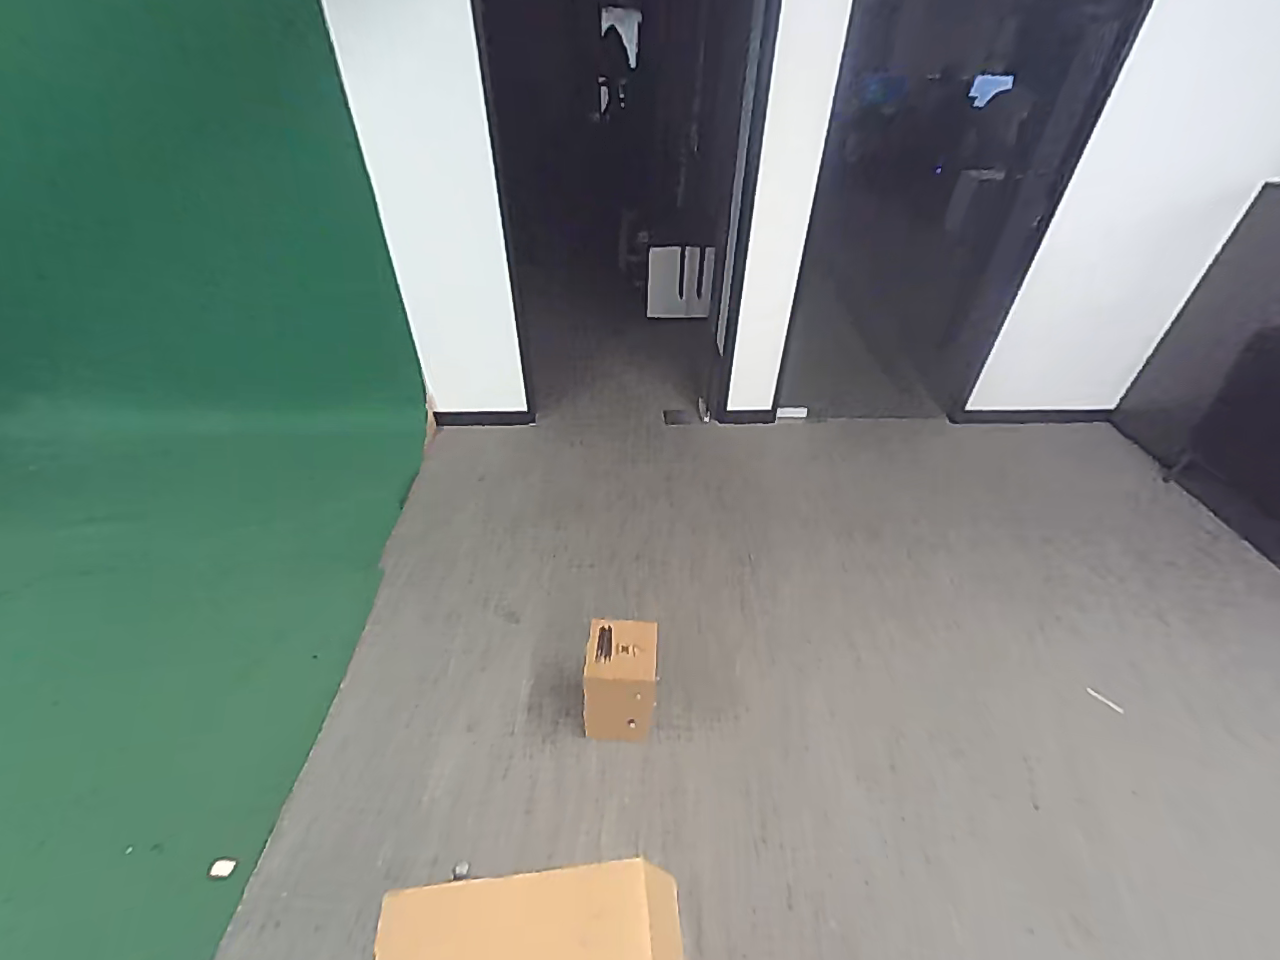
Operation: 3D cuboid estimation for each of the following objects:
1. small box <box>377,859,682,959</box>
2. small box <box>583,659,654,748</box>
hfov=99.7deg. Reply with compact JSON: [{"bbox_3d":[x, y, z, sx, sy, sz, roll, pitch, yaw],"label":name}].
[{"bbox_3d":[-0.060,0.366,0.360,0.179,0.176,0.168,-11,49,4],"label":"small box"},{"bbox_3d":[-0.056,0.621,1.496,0.179,0.176,0.168,3,39,3],"label":"small box"}]
